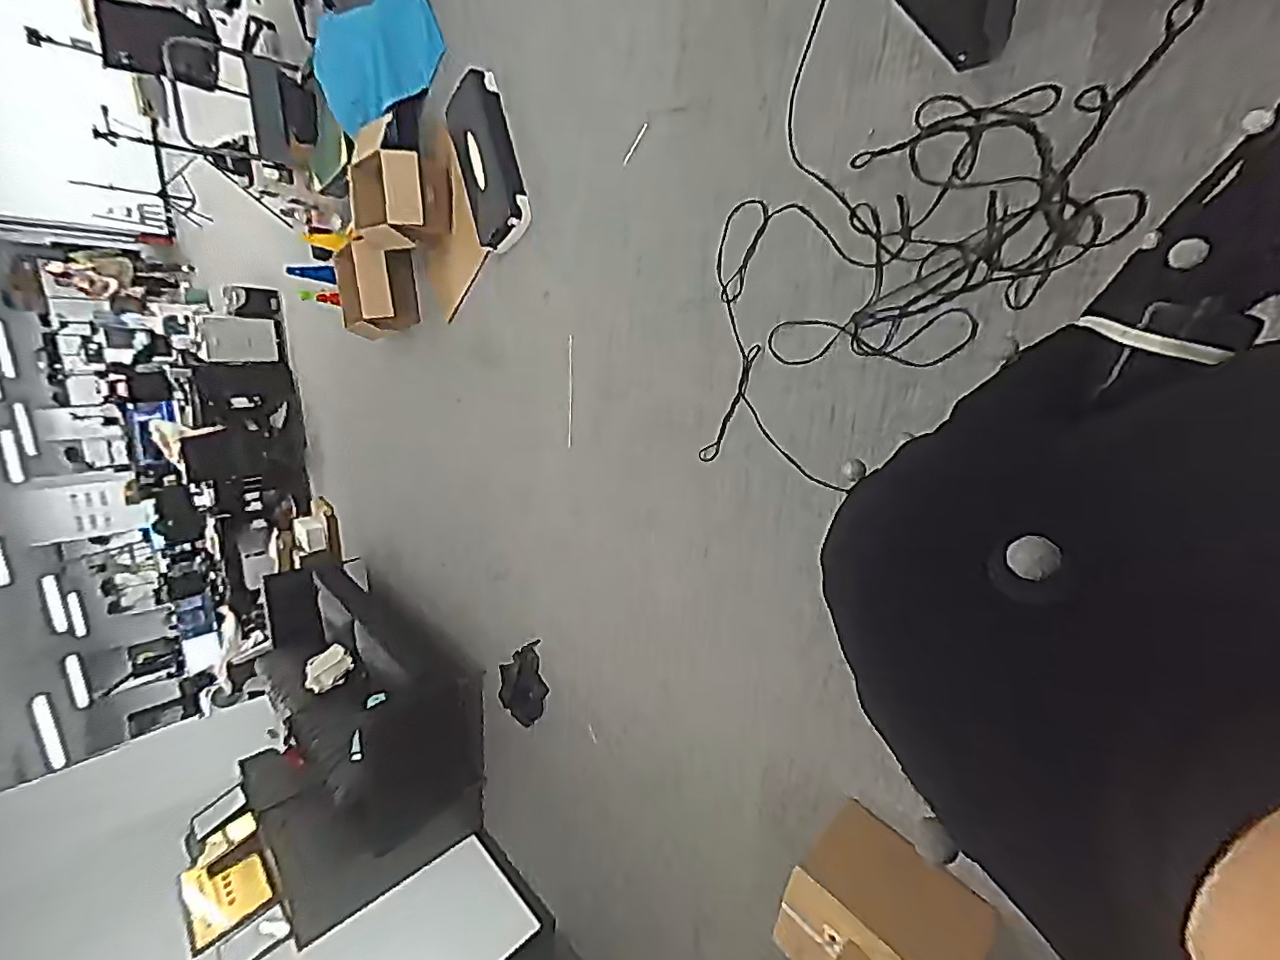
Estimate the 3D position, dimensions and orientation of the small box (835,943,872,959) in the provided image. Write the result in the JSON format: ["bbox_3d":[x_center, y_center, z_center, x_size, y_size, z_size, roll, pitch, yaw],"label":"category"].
[{"bbox_3d":[0.491,1.219,1.222,0.179,0.176,0.168,33,122,37],"label":"small box"}]

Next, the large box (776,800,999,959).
[{"bbox_3d":[0.635,1.162,1.414,0.408,0.320,0.320,27,117,41],"label":"large box"}]
